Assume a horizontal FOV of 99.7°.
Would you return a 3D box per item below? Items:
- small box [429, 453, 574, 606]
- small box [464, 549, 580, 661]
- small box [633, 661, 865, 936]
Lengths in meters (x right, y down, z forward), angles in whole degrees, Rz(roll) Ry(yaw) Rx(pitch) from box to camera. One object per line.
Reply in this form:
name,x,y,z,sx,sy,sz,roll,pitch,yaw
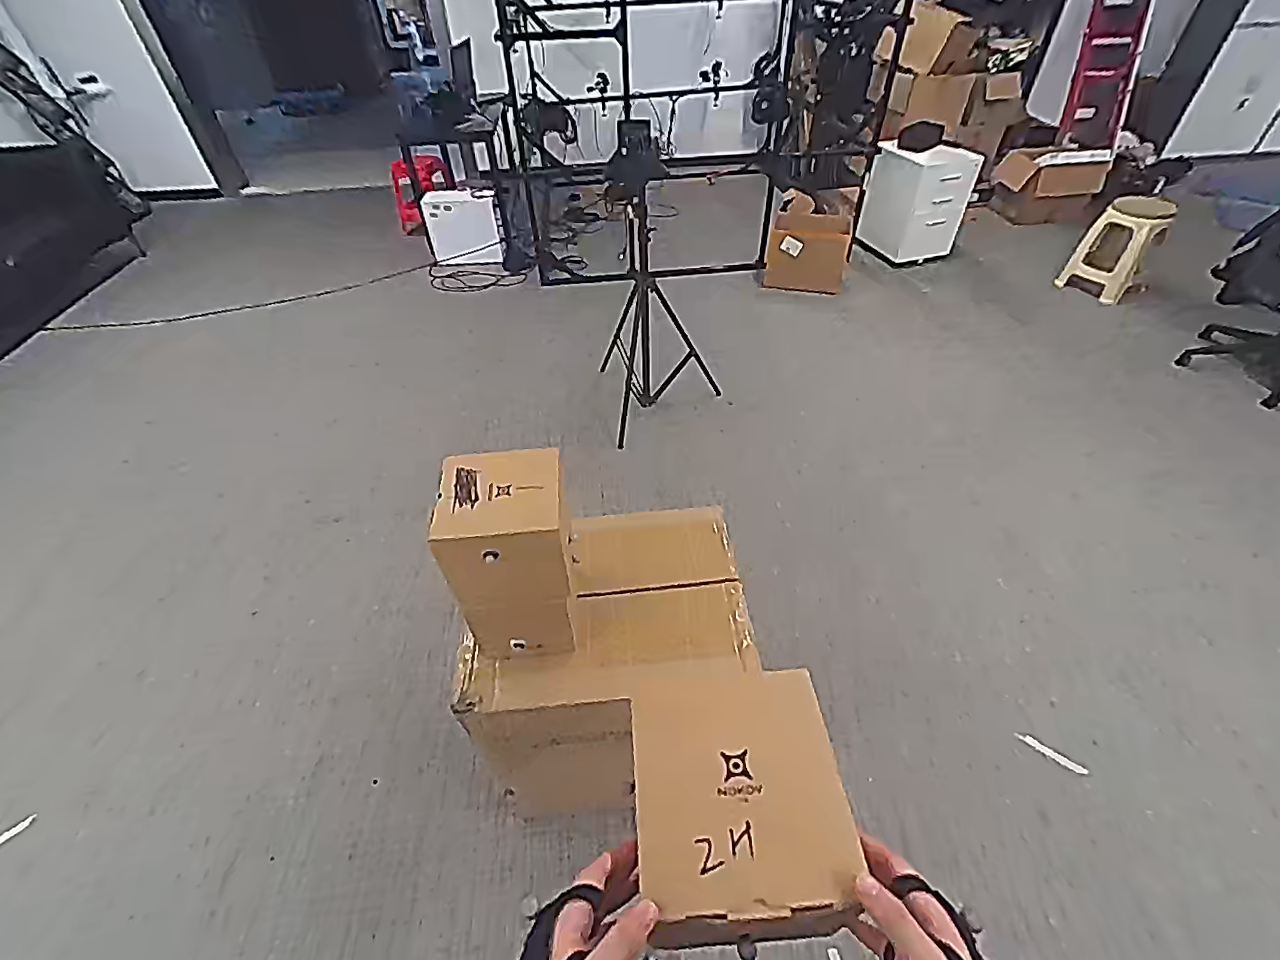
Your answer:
small box,-0.200,0.080,0.835,0.179,0.176,0.168,-5,46,-4
small box,-0.198,0.195,0.953,0.168,0.176,0.179,-5,46,-3
small box,0.080,0.291,0.499,0.168,0.176,0.179,-4,43,0
